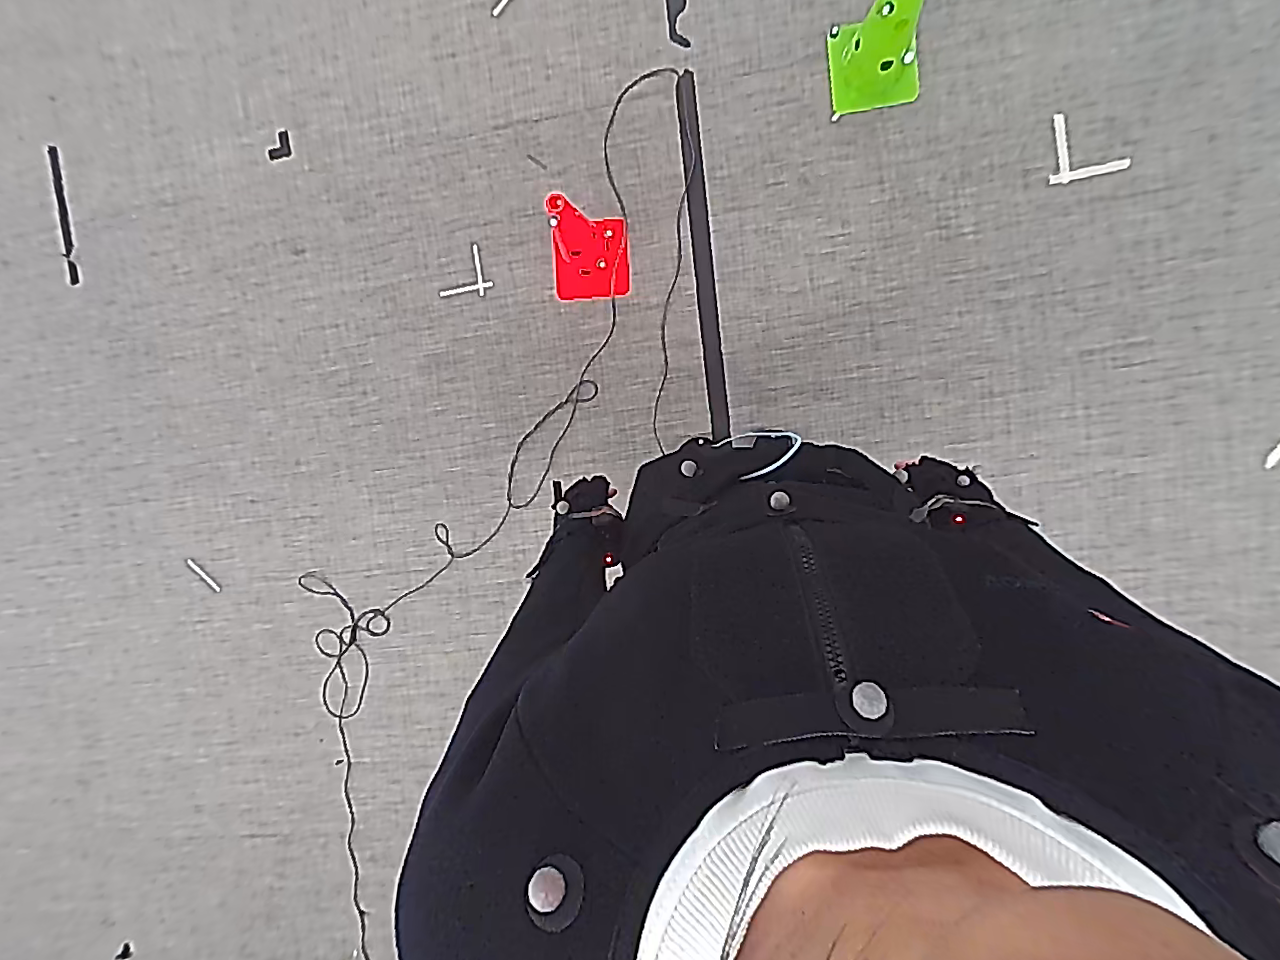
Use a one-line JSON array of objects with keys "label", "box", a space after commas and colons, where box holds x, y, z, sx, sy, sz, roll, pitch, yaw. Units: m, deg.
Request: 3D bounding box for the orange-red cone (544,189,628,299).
[{"label": "orange-red cone", "box": [-0.153, -0.567, 1.245, 0.199, 0.360, 0.198, -2, 93, 8]}]

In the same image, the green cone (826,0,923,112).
[{"label": "green cone", "box": [0.537, -0.982, 1.124, 0.202, 0.368, 0.200, -6, 94, 6]}]
